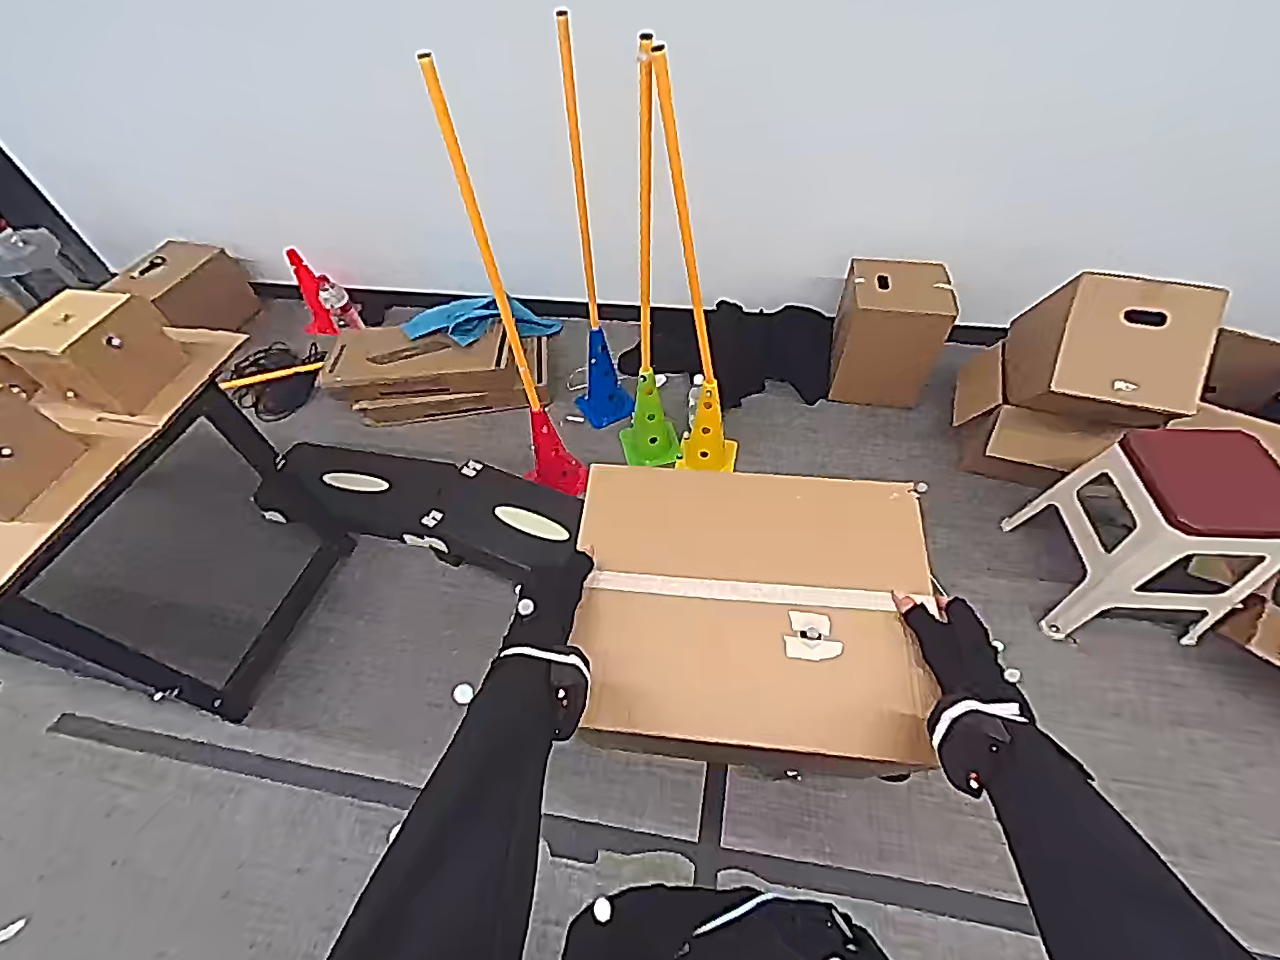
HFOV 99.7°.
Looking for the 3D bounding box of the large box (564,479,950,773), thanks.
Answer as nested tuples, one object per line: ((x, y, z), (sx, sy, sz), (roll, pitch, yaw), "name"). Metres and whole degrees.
((0.132, 0.214, 0.756), (0.408, 0.320, 0.320), (4, 61, 5), "large box")
